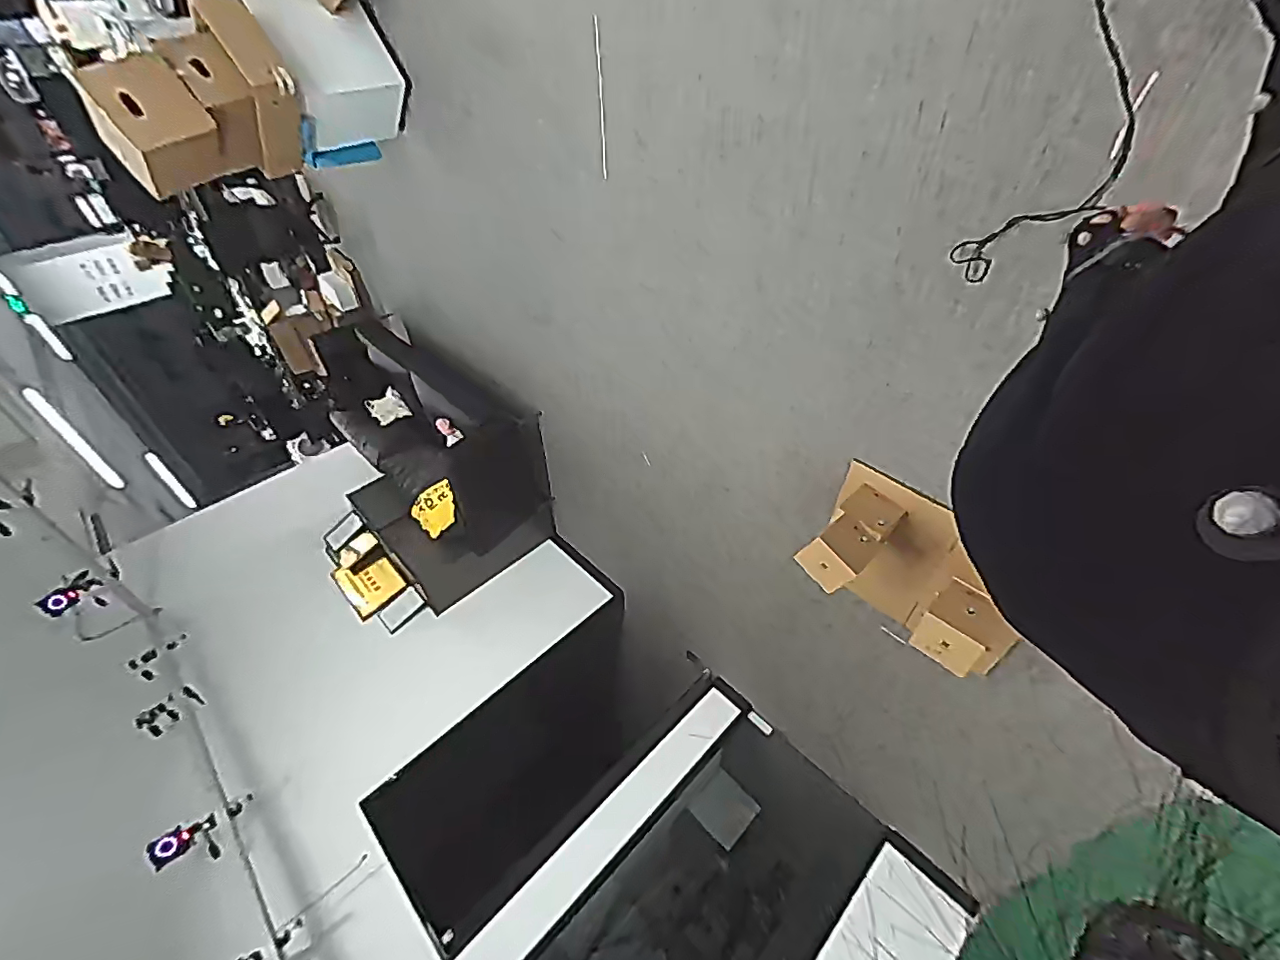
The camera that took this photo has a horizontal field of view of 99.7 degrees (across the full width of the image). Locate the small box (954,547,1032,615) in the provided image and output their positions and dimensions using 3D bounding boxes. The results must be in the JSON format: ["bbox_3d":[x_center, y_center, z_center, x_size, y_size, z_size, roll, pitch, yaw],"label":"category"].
[{"bbox_3d":[1.057,0.338,1.652,0.168,0.176,0.179,34,145,33],"label":"small box"}]

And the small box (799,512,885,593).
[{"bbox_3d":[0.666,0.238,1.780,0.168,0.176,0.179,48,150,14],"label":"small box"}]

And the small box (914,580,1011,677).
[{"bbox_3d":[0.940,0.425,1.574,0.168,0.176,0.179,35,145,33],"label":"small box"}]
